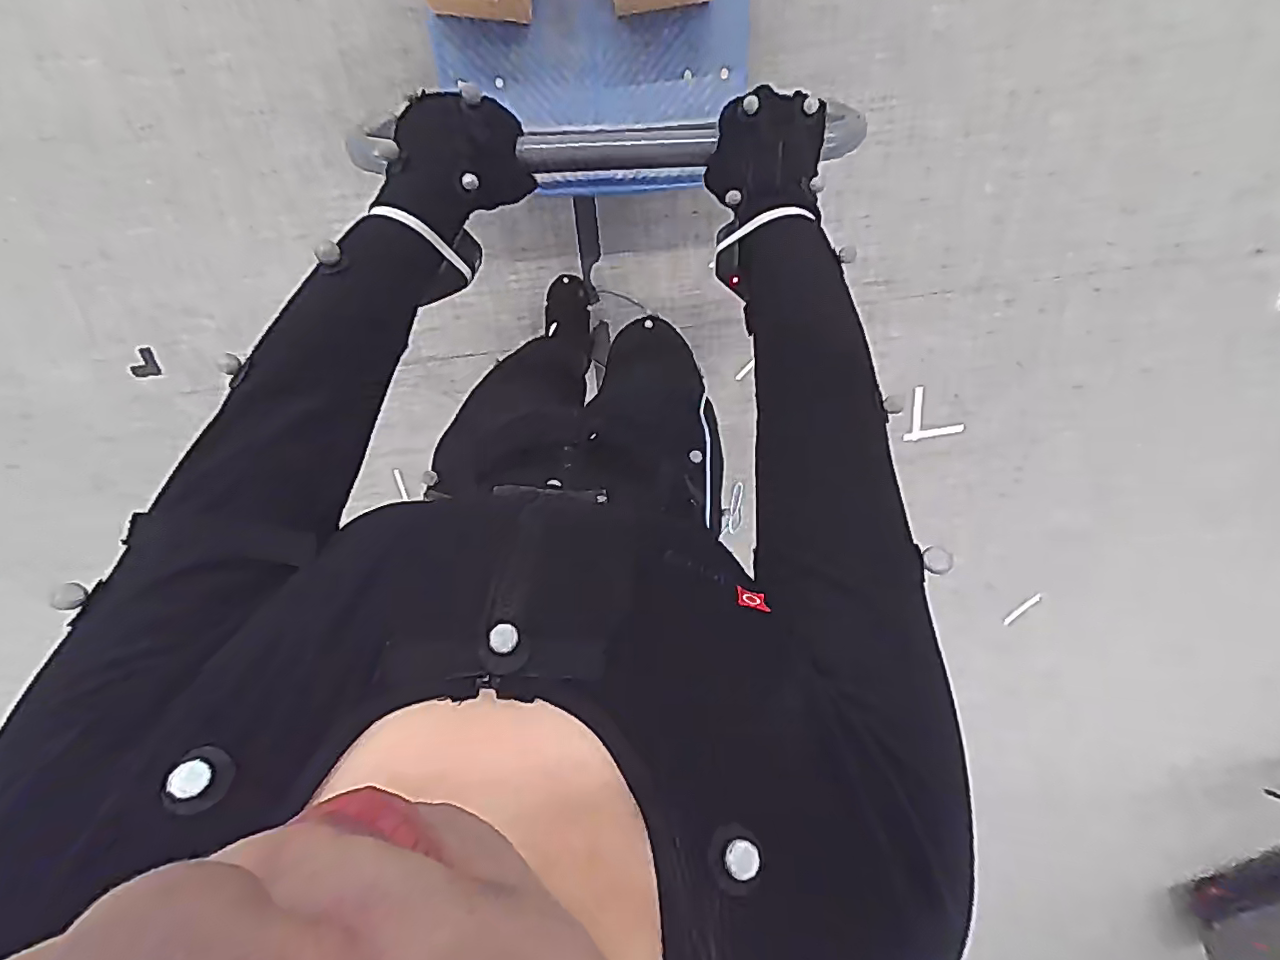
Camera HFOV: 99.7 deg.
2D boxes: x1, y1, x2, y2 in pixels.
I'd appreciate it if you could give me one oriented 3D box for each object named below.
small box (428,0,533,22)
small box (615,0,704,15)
[{"bbox_3d":[-0.268,-0.861,0.857,0.179,0.176,0.168,0,115,-6],"label":"small box"},{"bbox_3d":[0.037,-0.886,0.868,0.179,0.176,0.168,-9,116,0],"label":"small box"}]
